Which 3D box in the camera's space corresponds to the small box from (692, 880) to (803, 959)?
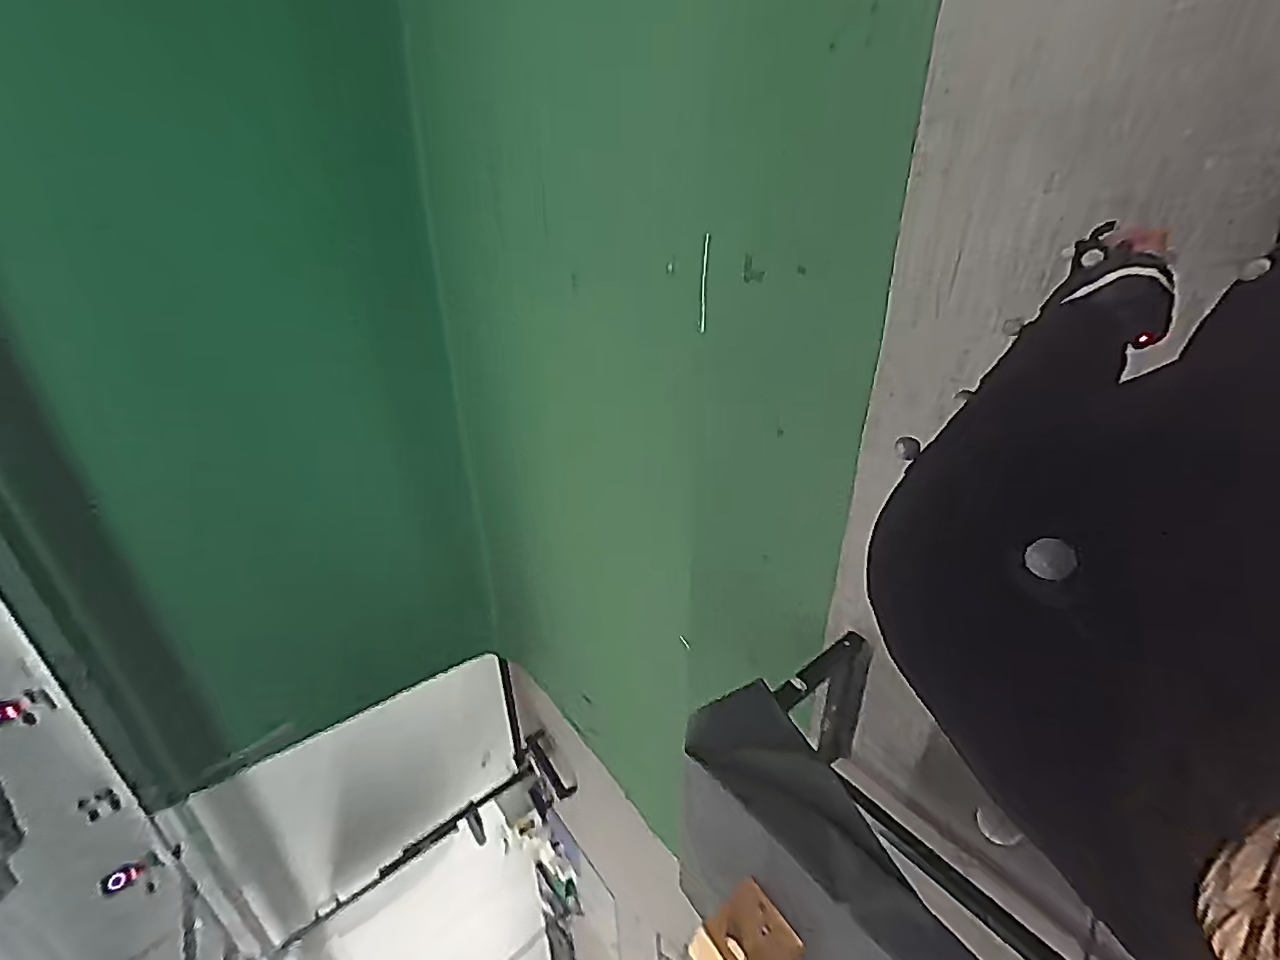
[{"bbox_3d":[0.244,1.074,1.236,0.168,0.176,0.179,40,135,38],"label":"small box"}]
